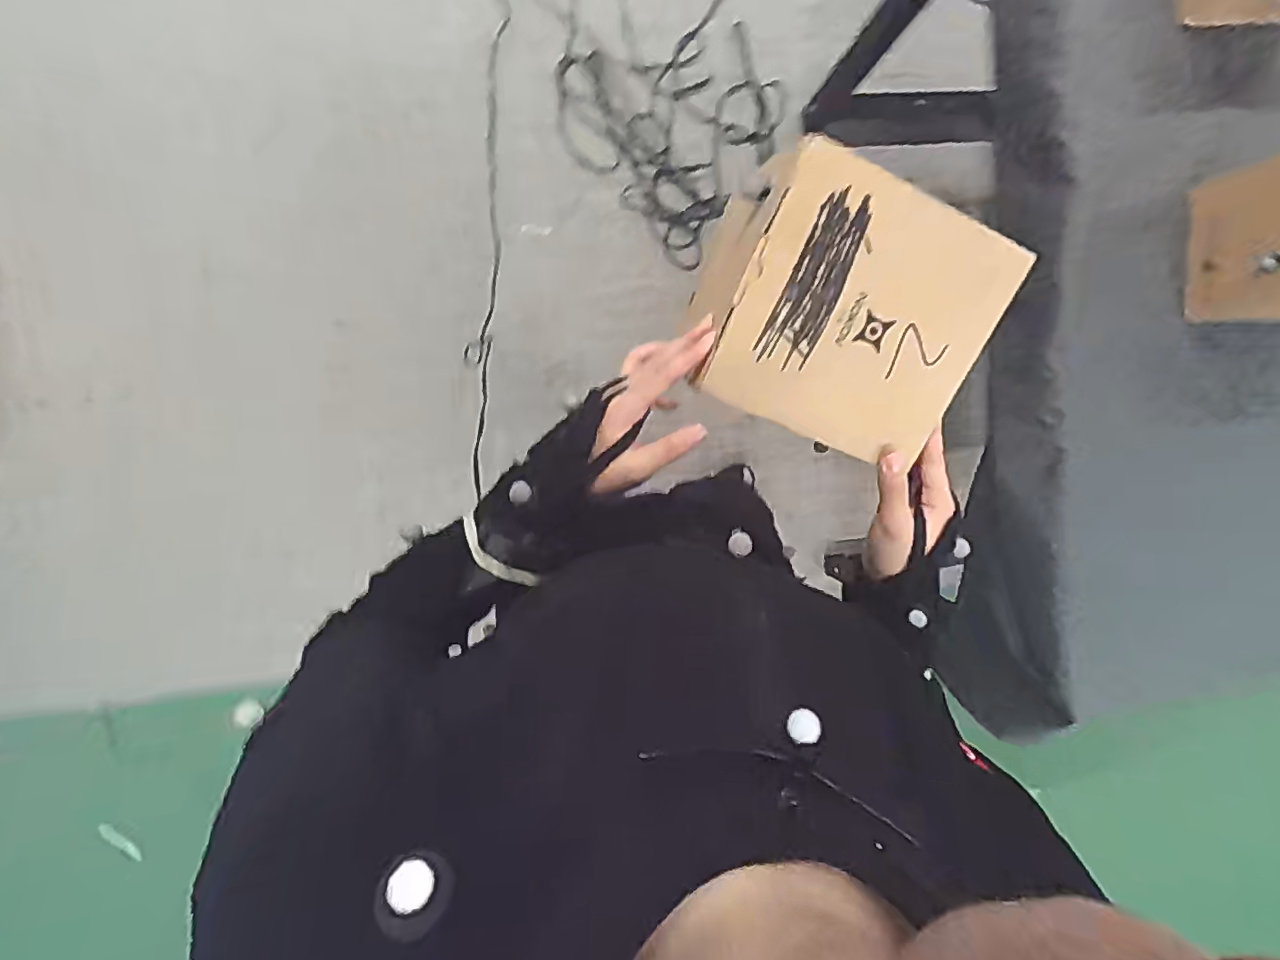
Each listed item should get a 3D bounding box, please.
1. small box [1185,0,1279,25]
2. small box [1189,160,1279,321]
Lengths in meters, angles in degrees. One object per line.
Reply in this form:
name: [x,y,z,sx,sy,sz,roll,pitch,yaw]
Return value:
small box: [0.739,-0.641,0.578,0.168,0.176,0.179,-7,97,-8]
small box: [0.795,-0.280,0.621,0.179,0.176,0.168,-2,97,-9]
